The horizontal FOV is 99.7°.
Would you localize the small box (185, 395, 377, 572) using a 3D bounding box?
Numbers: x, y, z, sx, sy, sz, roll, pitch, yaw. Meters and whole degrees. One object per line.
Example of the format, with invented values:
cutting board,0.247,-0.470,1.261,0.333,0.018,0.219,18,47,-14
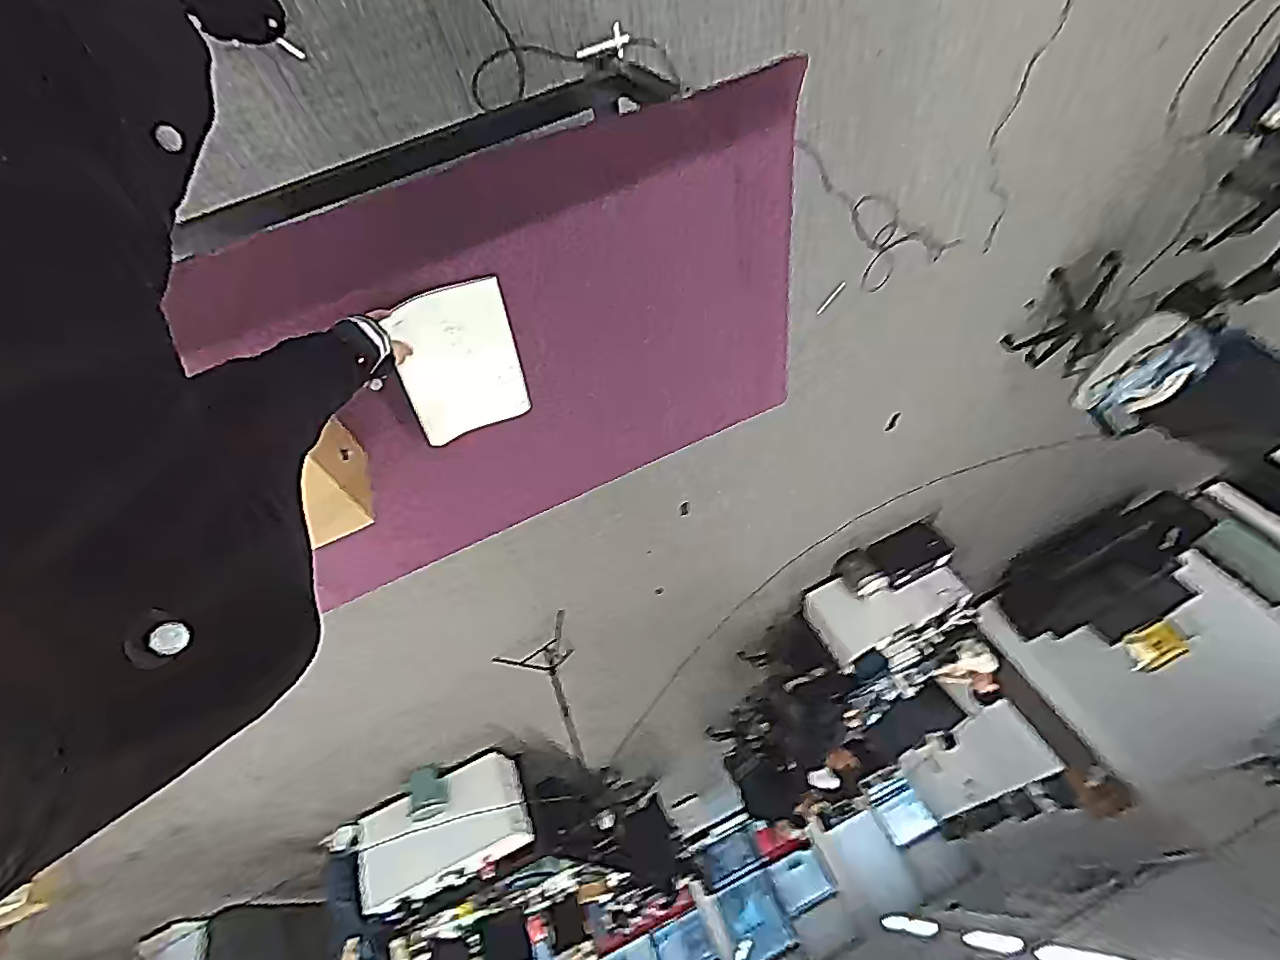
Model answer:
small box,-0.528,0.001,0.812,0.179,0.176,0.168,-24,141,-8
